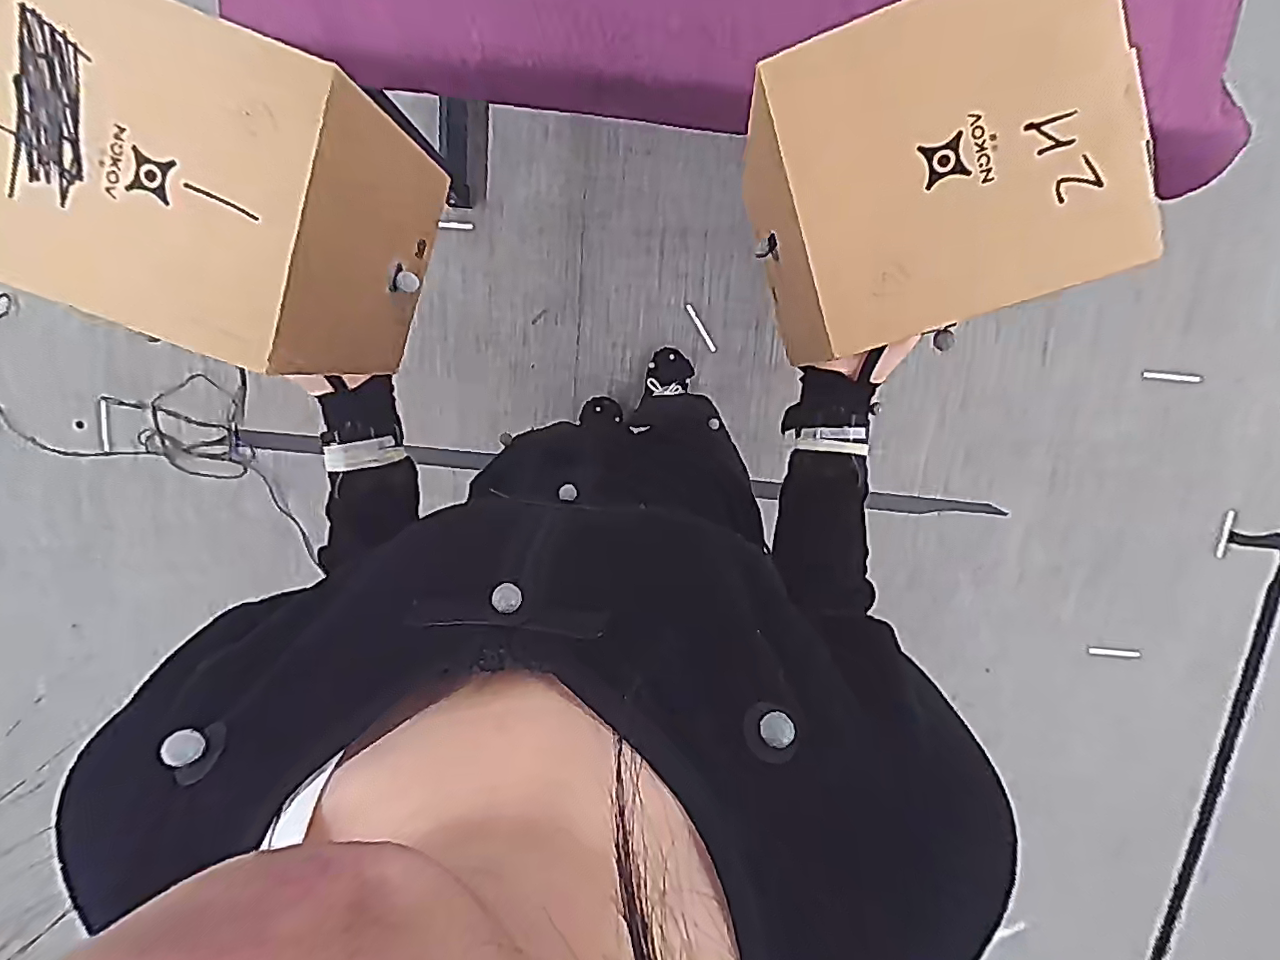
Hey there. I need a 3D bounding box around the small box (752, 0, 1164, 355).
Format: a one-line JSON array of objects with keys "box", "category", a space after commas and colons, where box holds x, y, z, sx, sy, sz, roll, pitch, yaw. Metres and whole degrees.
[{"box": [0.180, -0.188, 0.365, 0.179, 0.176, 0.168, -16, 99, 9], "category": "small box"}]

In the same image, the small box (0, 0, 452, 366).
[{"box": [-0.253, -0.180, 0.357, 0.179, 0.176, 0.168, 20, 101, -5], "category": "small box"}]
